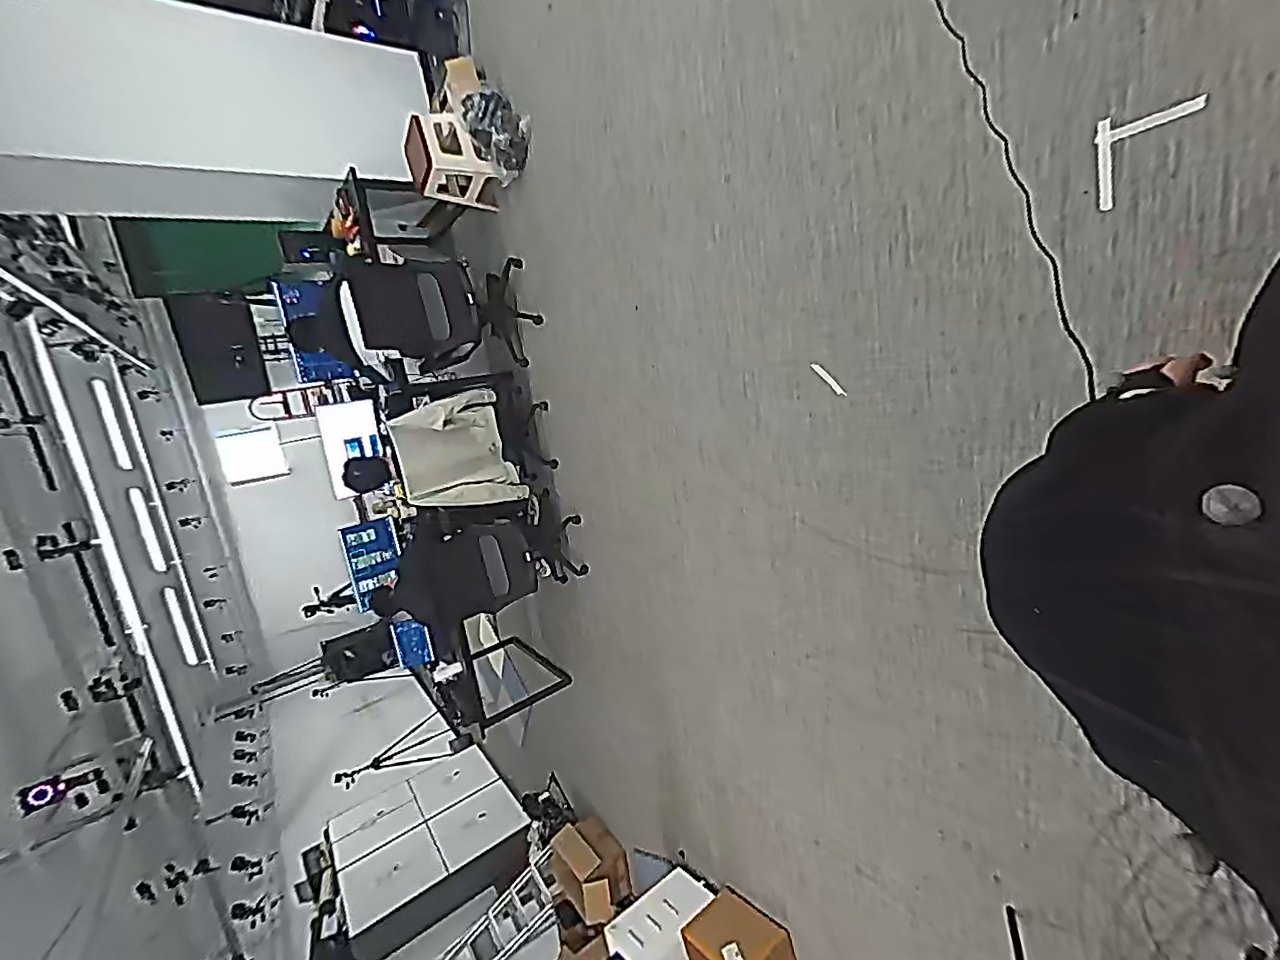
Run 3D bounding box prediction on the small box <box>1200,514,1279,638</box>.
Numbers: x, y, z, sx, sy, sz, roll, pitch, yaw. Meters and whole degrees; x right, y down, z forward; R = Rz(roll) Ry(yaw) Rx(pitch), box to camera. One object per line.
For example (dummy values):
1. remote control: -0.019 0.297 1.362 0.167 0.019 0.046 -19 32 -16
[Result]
1. small box: 1.175 0.176 1.001 0.168 0.176 0.179 5 109 55
